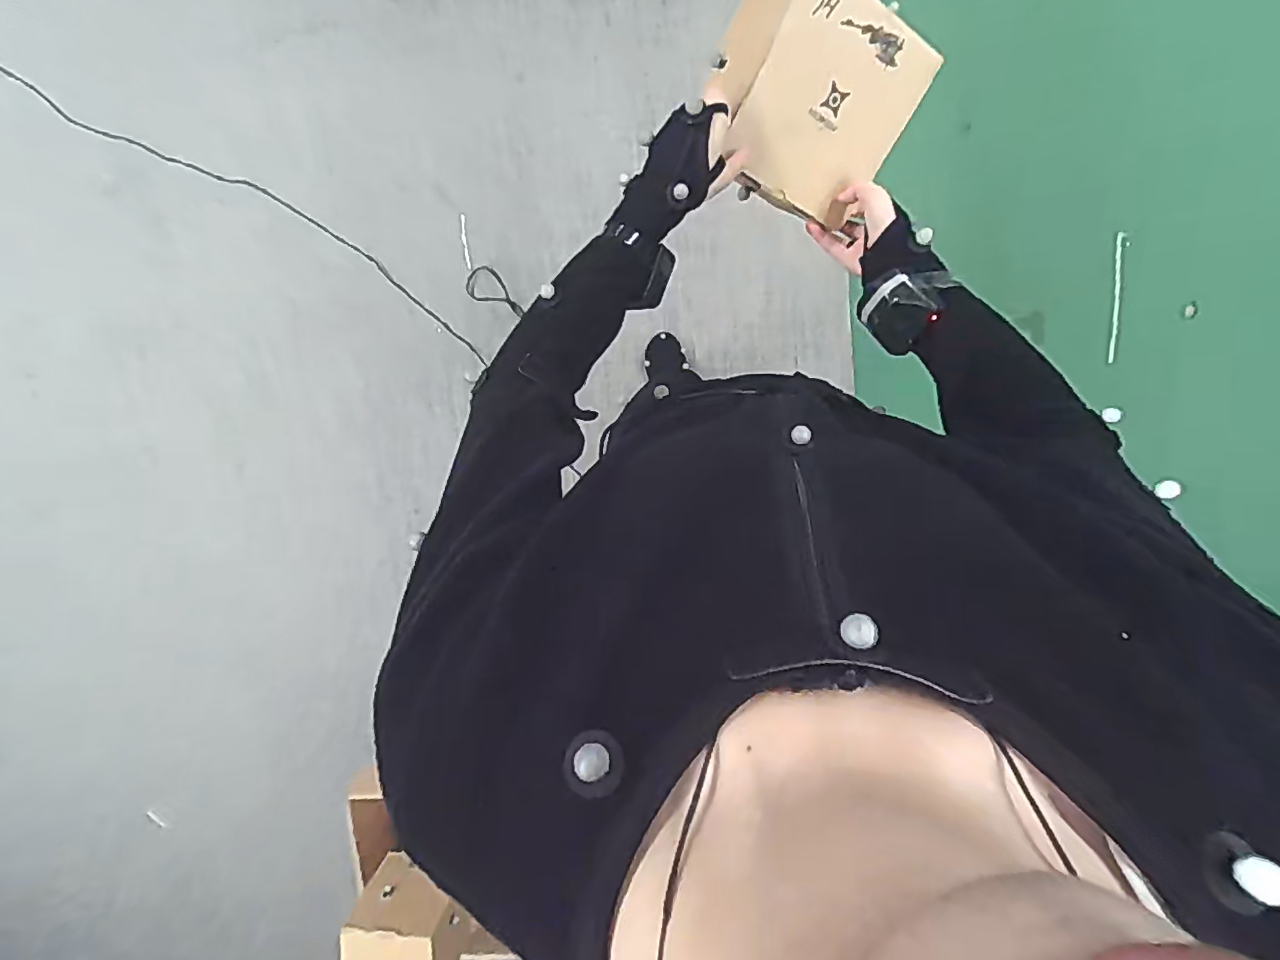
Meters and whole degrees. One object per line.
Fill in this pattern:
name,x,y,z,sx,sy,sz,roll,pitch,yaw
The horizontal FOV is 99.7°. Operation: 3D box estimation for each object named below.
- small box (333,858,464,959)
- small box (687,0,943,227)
small box,-0.433,0.838,0.990,0.168,0.176,0.179,3,99,4
small box,0.166,-0.412,0.582,0.168,0.176,0.179,19,121,-24
